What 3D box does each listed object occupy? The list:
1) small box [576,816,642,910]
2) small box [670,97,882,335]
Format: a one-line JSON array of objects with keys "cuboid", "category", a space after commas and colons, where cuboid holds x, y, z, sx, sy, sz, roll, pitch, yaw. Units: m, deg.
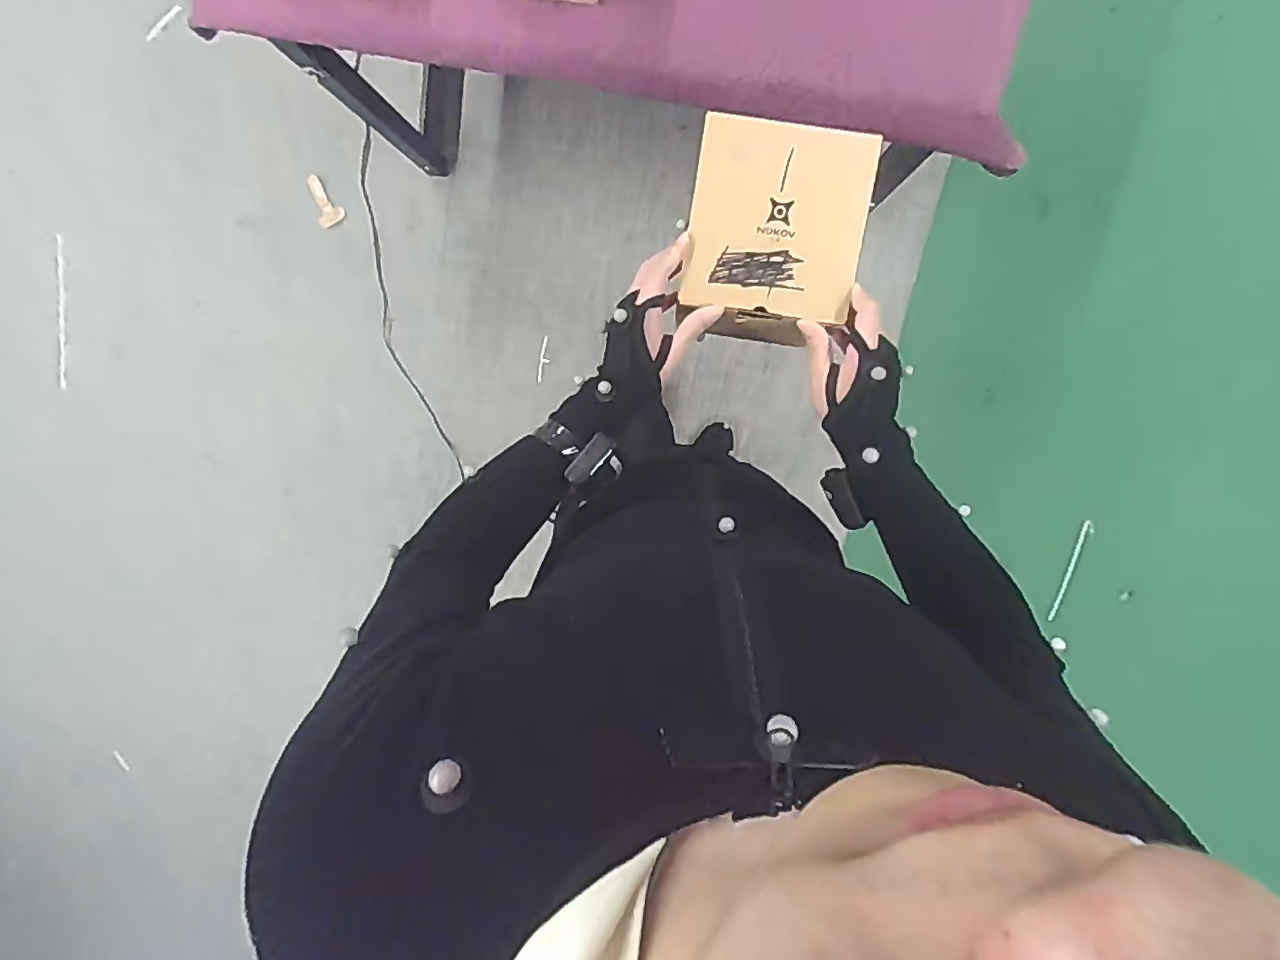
[{"cuboid": [-0.094, 1.246, 1.770, 0.179, 0.176, 0.168, 14, 101, 1], "category": "small box"}, {"cuboid": [0.128, -0.259, 0.573, 0.168, 0.176, 0.179, 9, 98, 2], "category": "small box"}]
